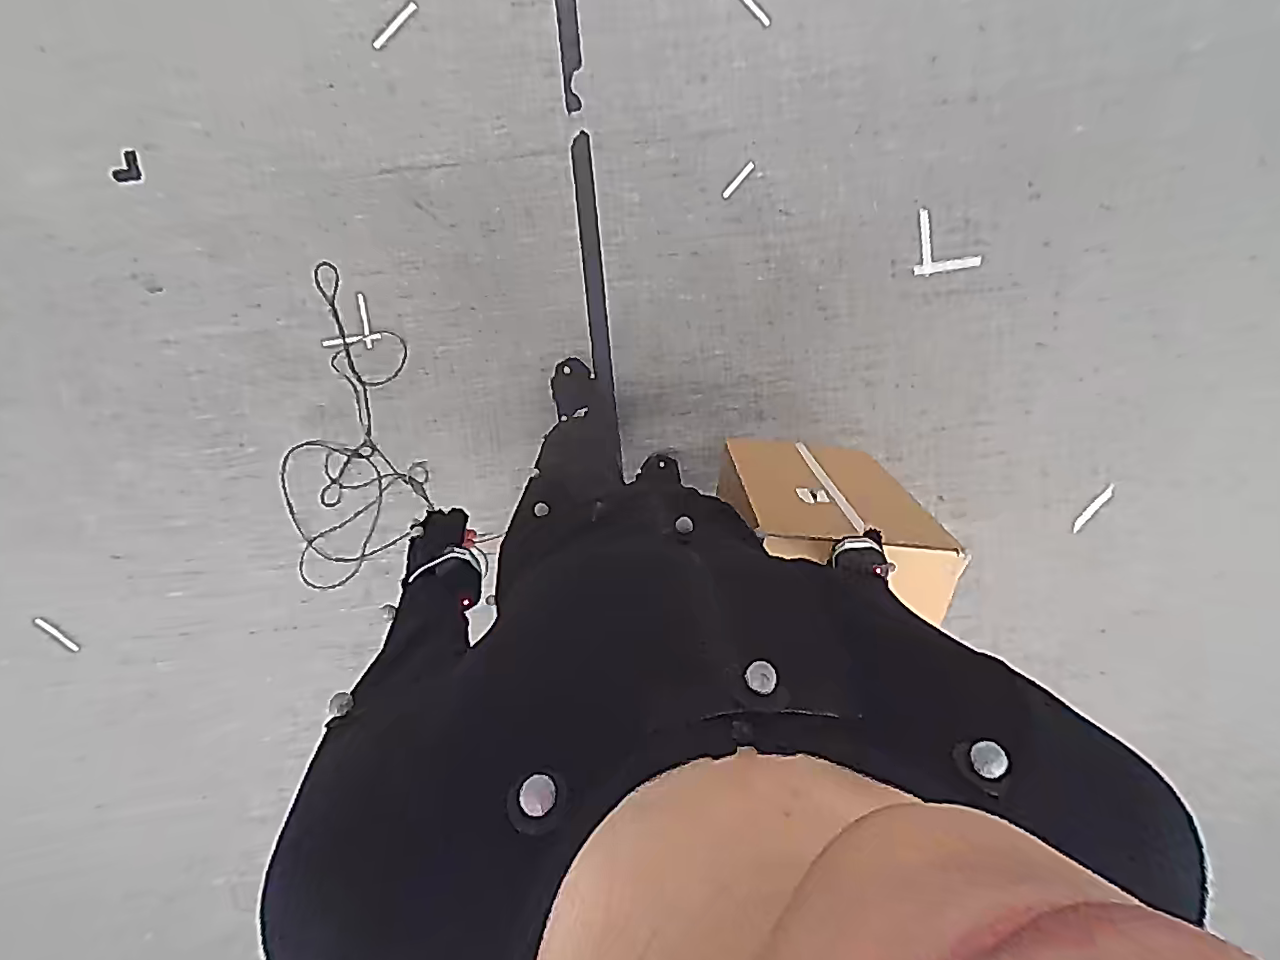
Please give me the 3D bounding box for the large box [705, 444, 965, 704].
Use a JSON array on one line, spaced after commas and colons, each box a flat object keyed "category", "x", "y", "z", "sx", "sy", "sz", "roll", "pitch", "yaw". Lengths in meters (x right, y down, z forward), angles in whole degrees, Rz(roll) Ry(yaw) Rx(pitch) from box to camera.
[{"category": "large box", "x": 0.321, "y": 0.158, "z": 1.048, "sx": 0.320, "sy": 0.408, "sz": 0.320, "roll": 5, "pitch": 115, "yaw": -2}]
